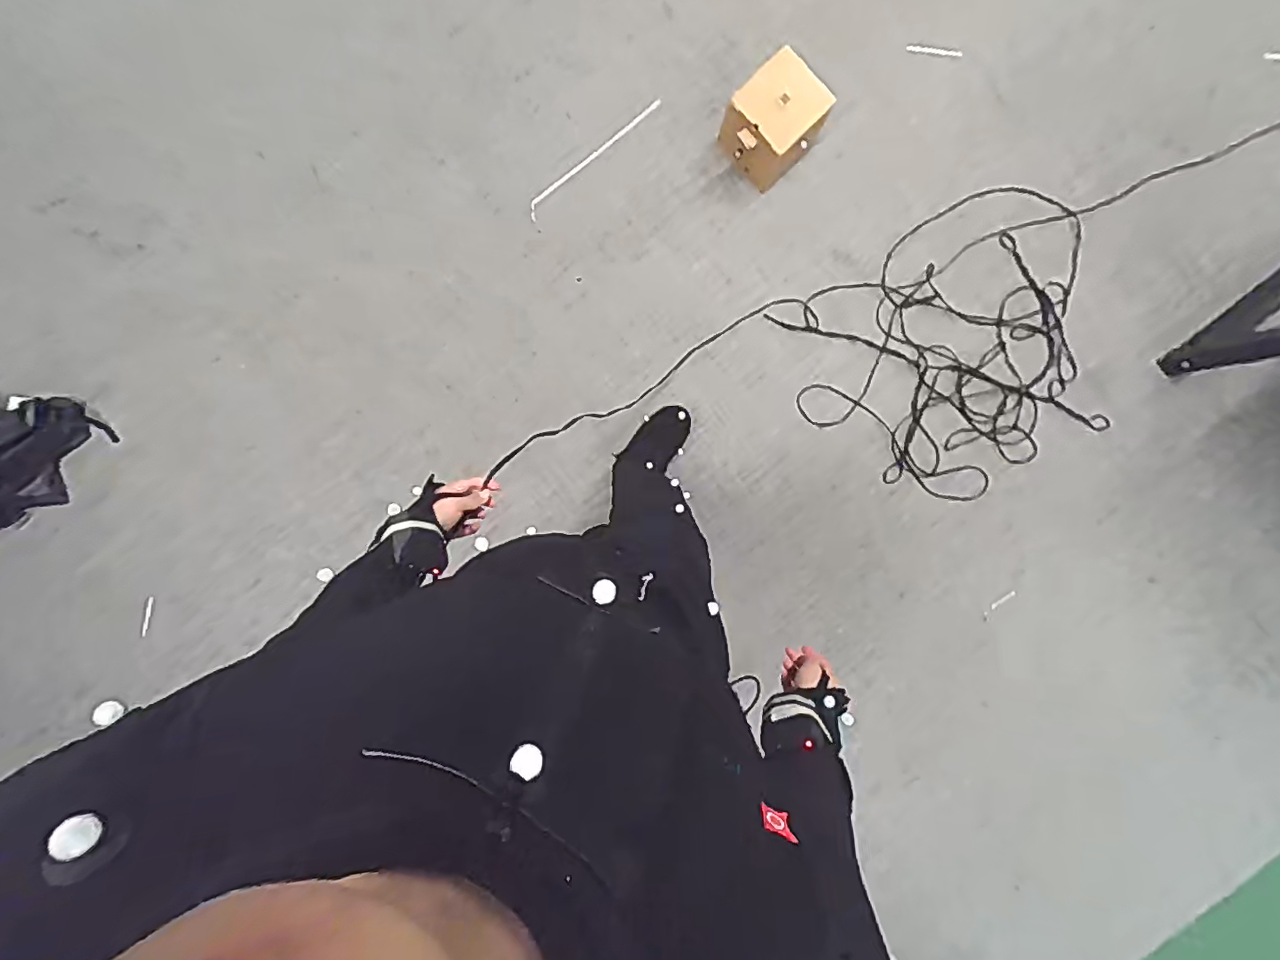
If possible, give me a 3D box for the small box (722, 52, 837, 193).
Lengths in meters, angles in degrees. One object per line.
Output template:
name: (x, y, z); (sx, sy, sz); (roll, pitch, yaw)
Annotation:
small box: (0.314, -0.820, 1.258); (0.179, 0.176, 0.168); (-44, 93, 1)
